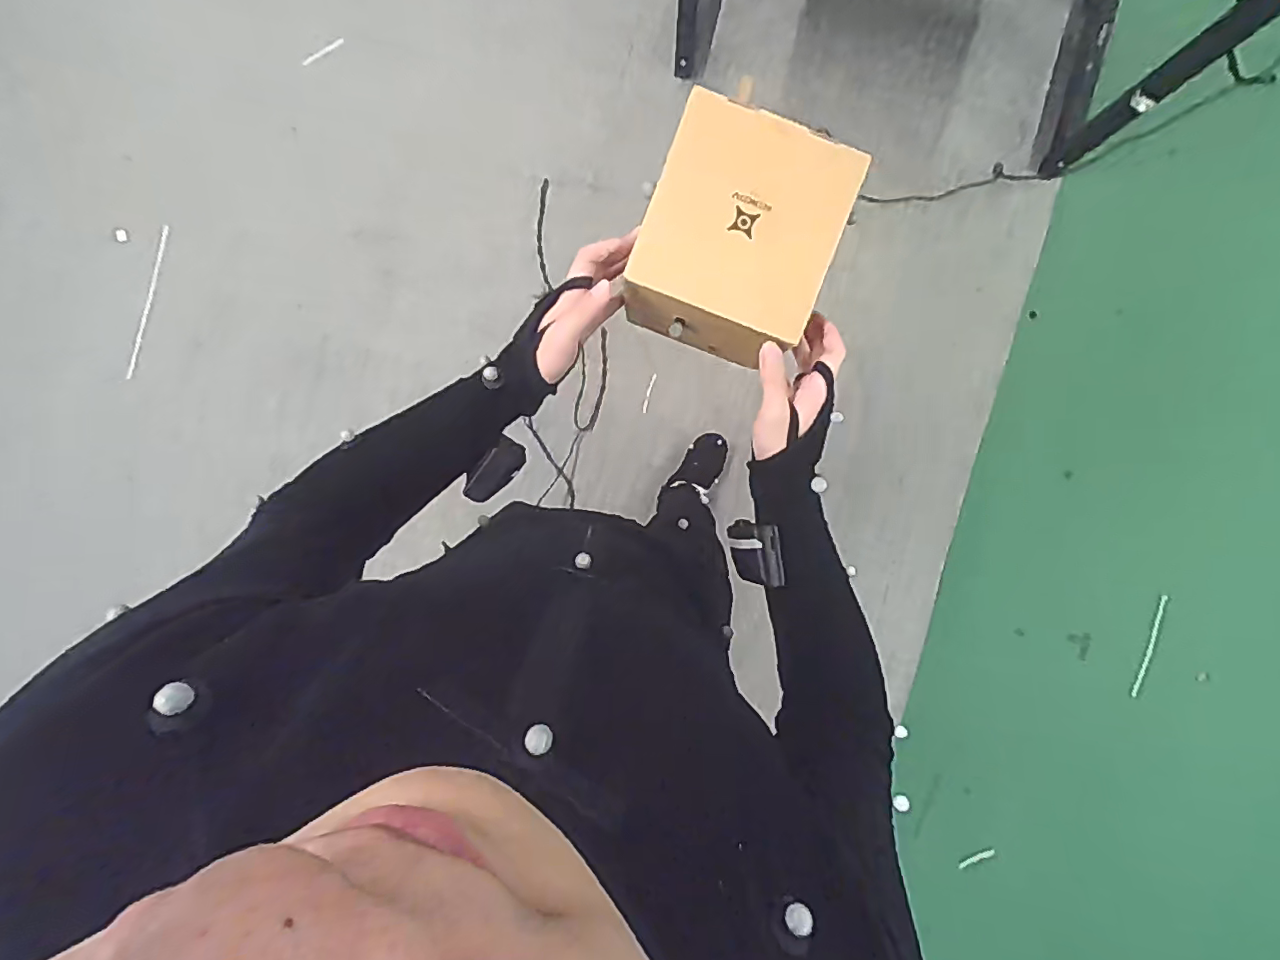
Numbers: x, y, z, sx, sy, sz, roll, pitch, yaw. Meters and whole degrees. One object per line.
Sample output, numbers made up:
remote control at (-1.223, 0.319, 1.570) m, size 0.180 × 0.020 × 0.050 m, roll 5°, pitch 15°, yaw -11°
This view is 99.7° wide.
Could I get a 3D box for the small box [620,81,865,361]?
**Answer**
small box at (0.089, -0.234, 0.542) m, size 0.168 × 0.176 × 0.179 m, roll 20°, pitch 92°, yaw -1°
